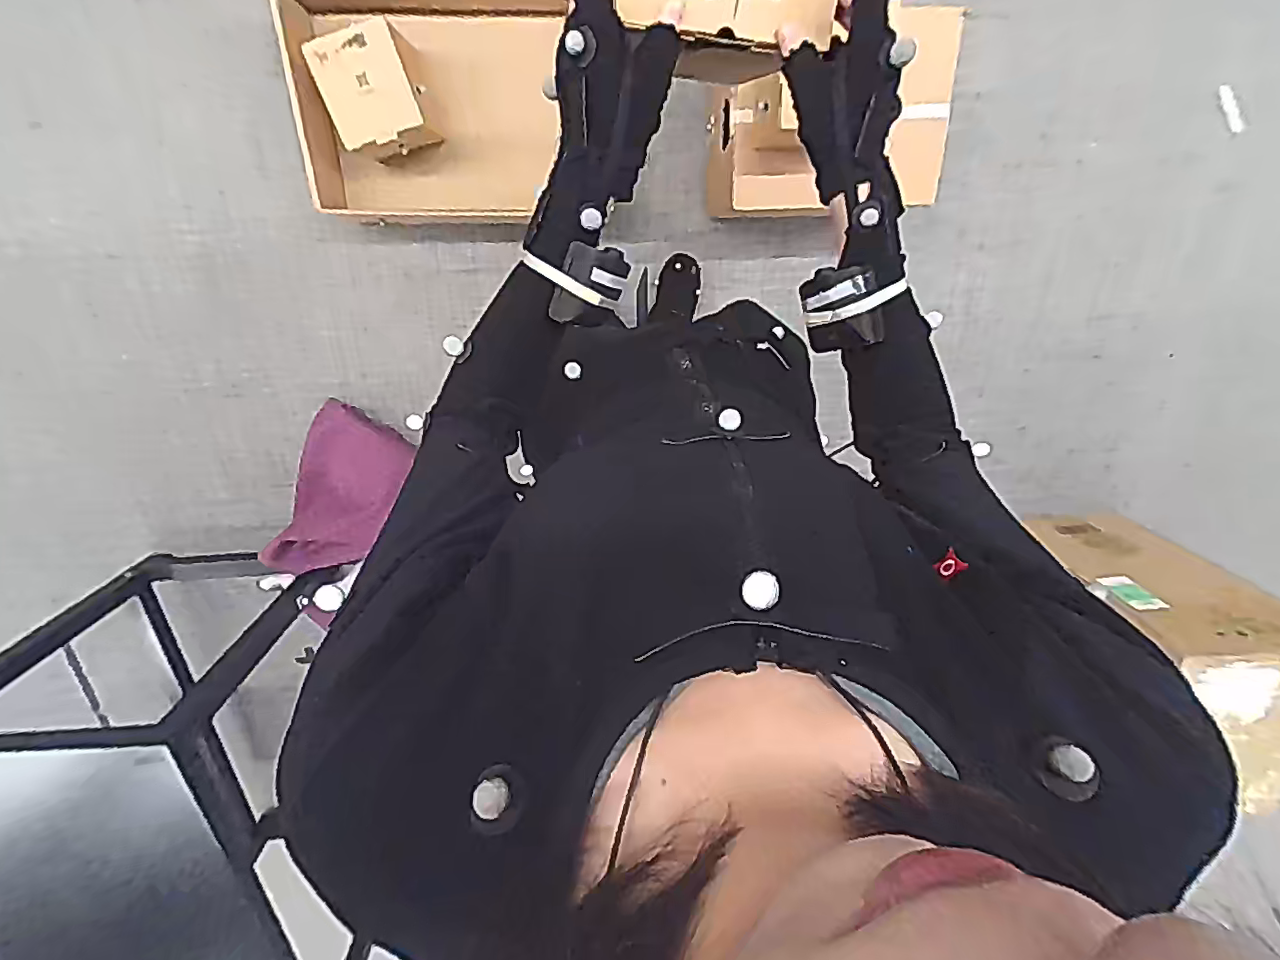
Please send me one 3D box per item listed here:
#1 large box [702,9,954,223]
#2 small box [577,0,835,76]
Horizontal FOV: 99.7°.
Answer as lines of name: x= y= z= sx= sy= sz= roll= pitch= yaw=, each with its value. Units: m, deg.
large box: x=0.355 y=-0.730 z=1.138 sx=0.408 sy=0.320 sz=0.320 roll=-4 pitch=113 yaw=-3
small box: x=0.047 y=-0.430 z=0.408 sx=0.168 sy=0.176 sz=0.179 roll=-3 pitch=119 yaw=-16
